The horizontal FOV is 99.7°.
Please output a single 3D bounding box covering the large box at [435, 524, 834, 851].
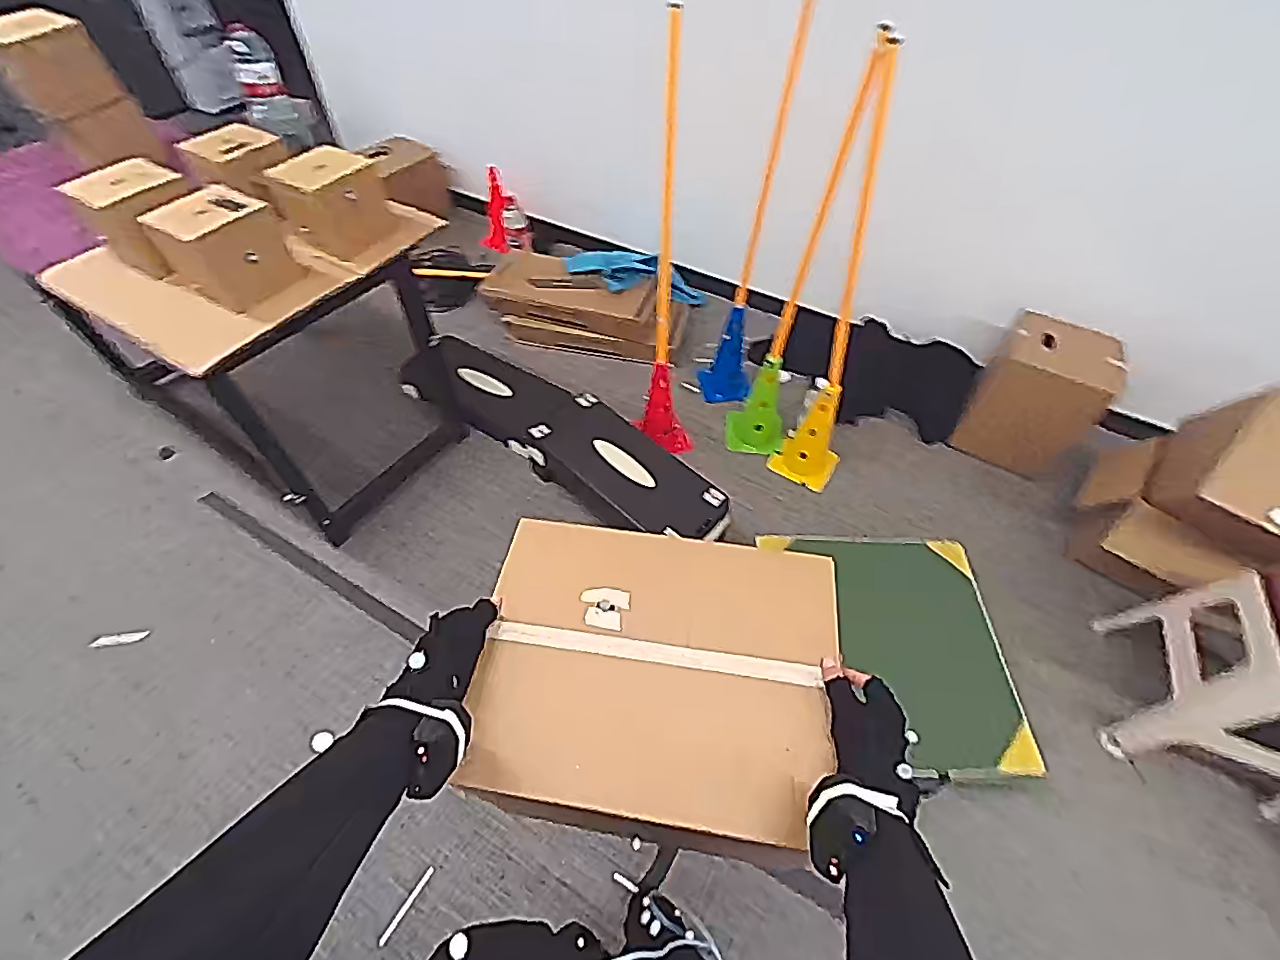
[{"bbox_3d":[0.015,0.285,0.733,0.408,0.320,0.320,6,52,7],"label":"large box"}]
